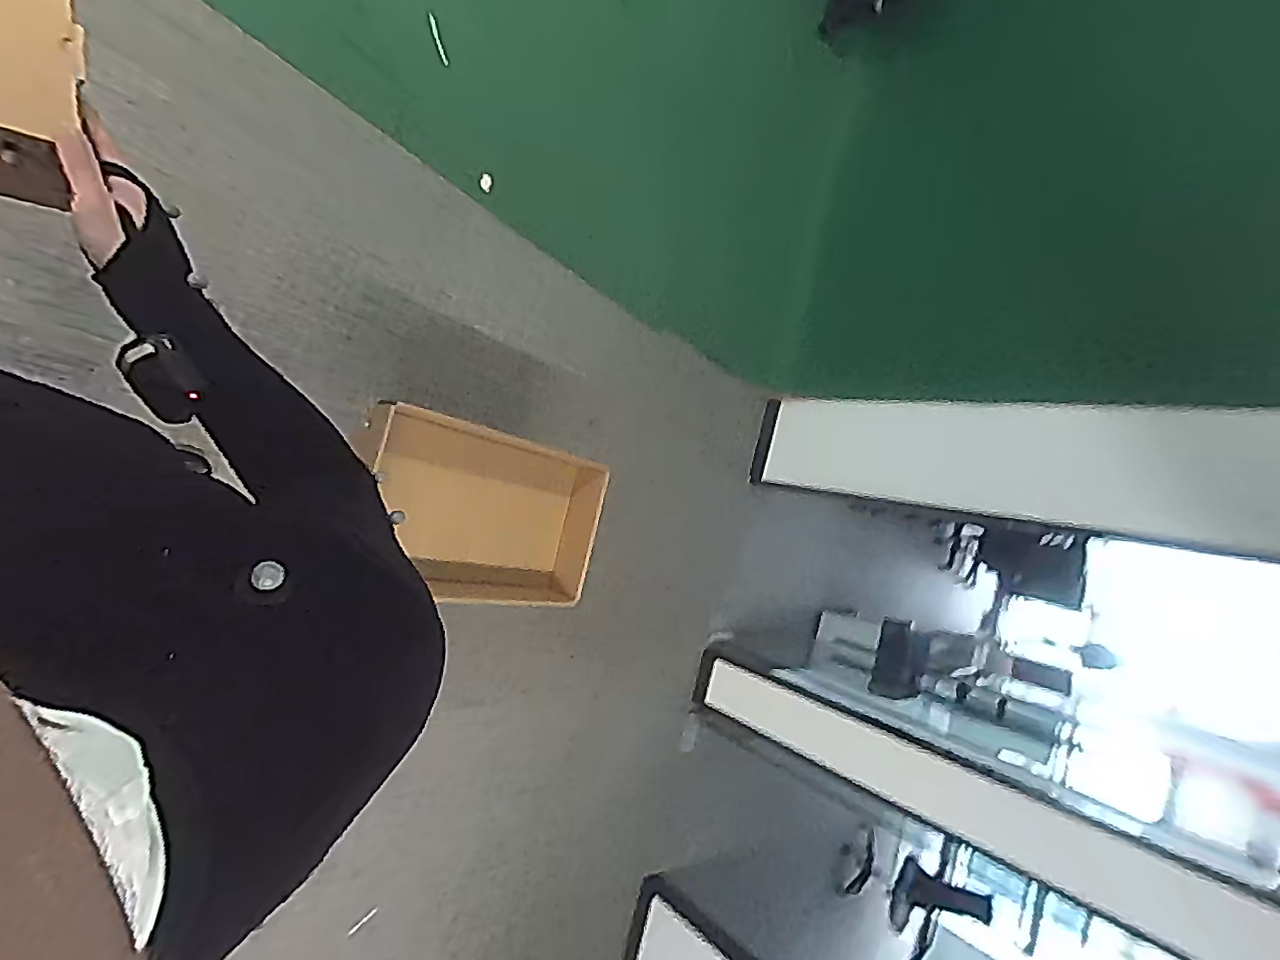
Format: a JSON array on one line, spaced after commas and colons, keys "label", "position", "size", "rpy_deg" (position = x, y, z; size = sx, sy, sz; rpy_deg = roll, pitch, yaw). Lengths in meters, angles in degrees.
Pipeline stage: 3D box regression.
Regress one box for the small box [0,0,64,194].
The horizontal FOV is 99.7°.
[{"label": "small box", "position": [-0.585, -0.353, 0.420], "size": [0.179, 0.176, 0.168], "rpy_deg": [-5, 95, -51]}]
